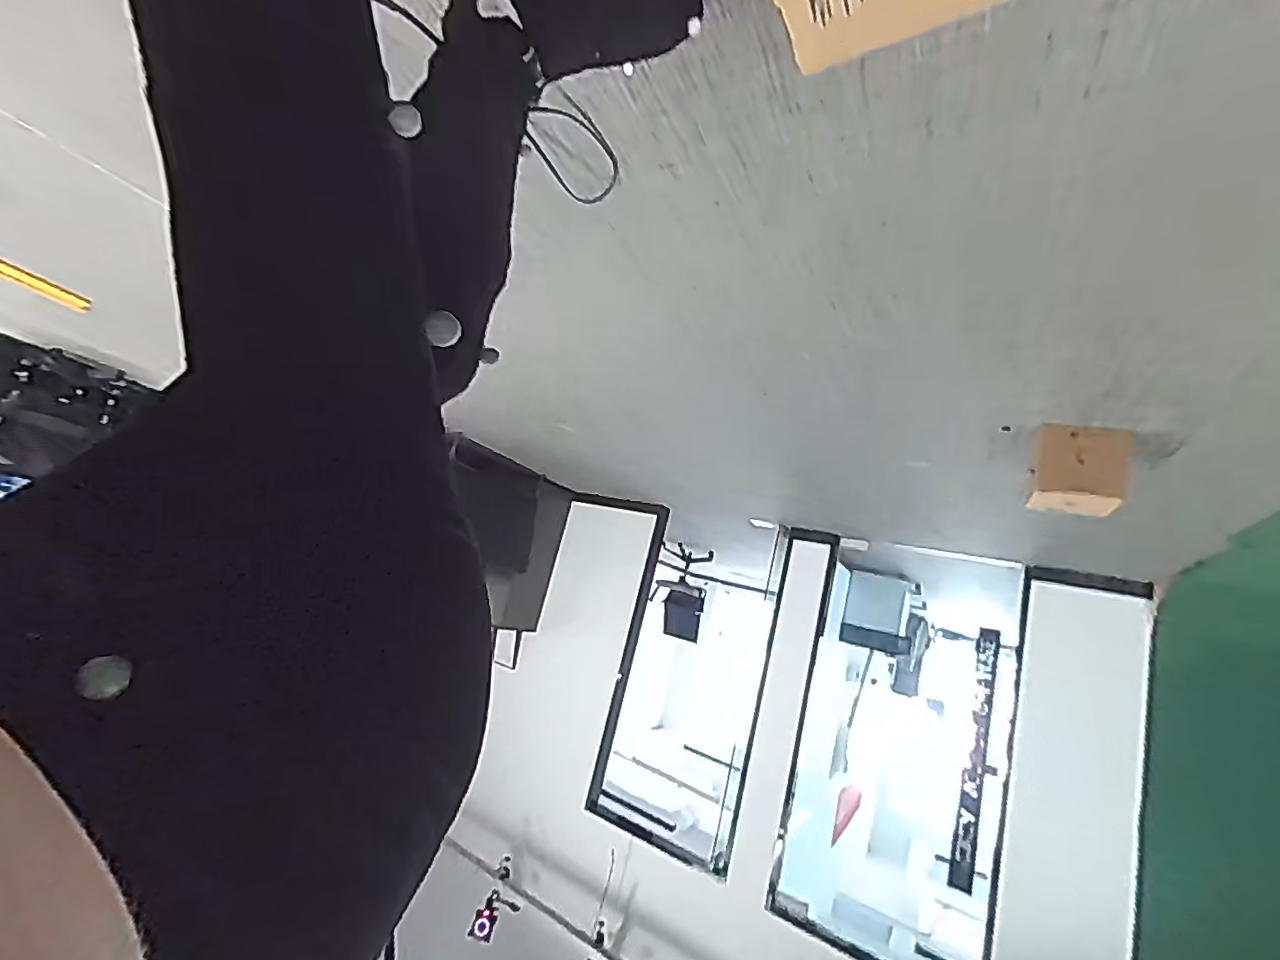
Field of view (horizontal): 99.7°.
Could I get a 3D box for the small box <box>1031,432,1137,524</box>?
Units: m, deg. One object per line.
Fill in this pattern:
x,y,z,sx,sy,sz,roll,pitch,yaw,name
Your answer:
1.062,-0.006,1.299,0.168,0.176,0.179,9,167,30,small box
